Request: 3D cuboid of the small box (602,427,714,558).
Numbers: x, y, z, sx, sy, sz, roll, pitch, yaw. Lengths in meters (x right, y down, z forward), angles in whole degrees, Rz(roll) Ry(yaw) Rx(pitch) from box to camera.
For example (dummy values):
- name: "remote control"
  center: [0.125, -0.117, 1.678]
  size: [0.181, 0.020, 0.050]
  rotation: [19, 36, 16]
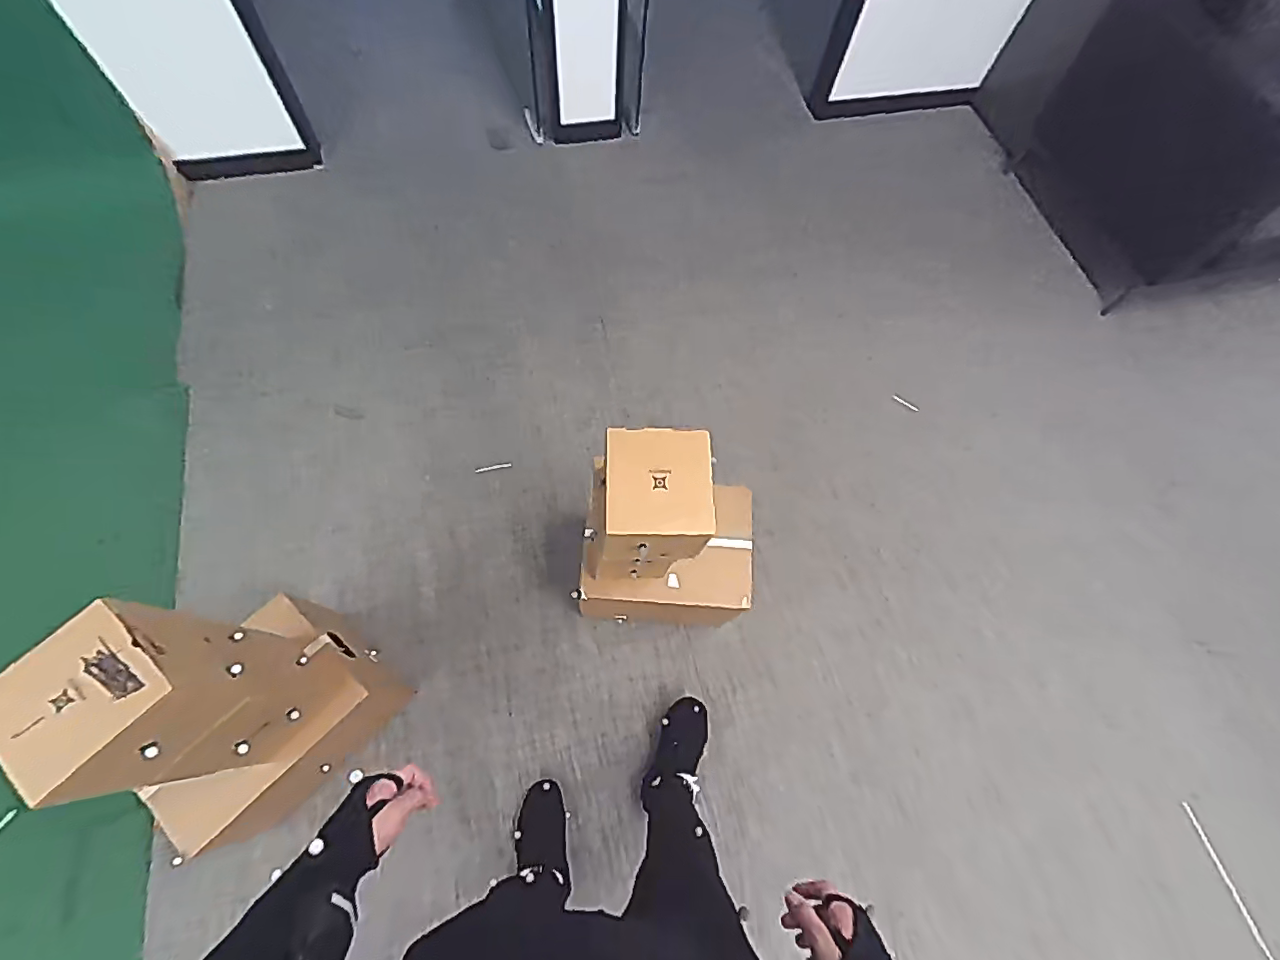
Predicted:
- name: "small box"
  center: [0.023, 0.028, 0.896]
  size: [0.168, 0.176, 0.179]
  rotation: [1, 67, -5]

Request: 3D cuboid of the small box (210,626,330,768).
- name: "small box"
  center: [-0.725, 0.407, 1.023]
  size: [0.168, 0.176, 0.179]
  rotation: [41, 70, 12]

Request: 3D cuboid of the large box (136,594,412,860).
- name: "large box"
  center: [-0.815, 0.531, 1.231]
  size: [0.320, 0.320, 0.408]
  rotation: [41, 70, 14]

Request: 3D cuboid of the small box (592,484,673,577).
- name: "small box"
  center: [-0.022, 0.118, 1.209]
  size: [0.168, 0.176, 0.179]
  rotation: [-2, 68, -6]

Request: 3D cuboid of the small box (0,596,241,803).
- name: "small box"
  center: [-0.687, 0.284, 0.724]
  size: [0.168, 0.176, 0.179]
  rotation: [41, 72, 12]

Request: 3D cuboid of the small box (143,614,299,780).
- name: "small box"
  center: [-0.705, 0.347, 0.874]
  size: [0.179, 0.176, 0.168]
  rotation: [43, 71, 12]
